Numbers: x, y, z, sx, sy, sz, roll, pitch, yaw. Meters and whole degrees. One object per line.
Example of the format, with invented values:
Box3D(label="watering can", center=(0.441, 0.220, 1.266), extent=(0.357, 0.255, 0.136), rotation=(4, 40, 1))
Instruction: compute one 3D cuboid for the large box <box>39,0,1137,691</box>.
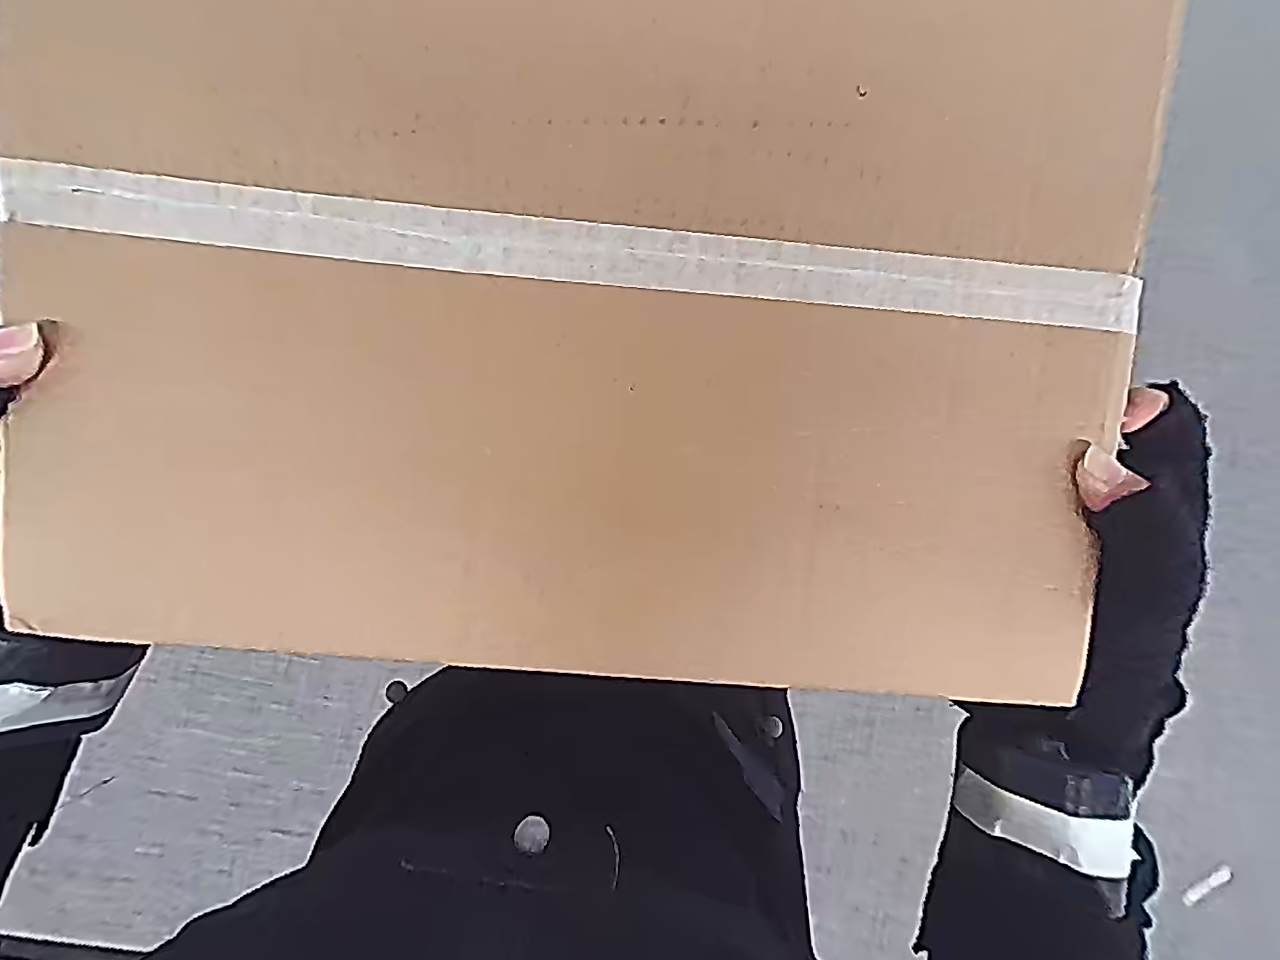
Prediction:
Box3D(label="large box", center=(-0.023, -0.090, 0.357), extent=(0.408, 0.320, 0.320), rotation=(5, 94, -3))
